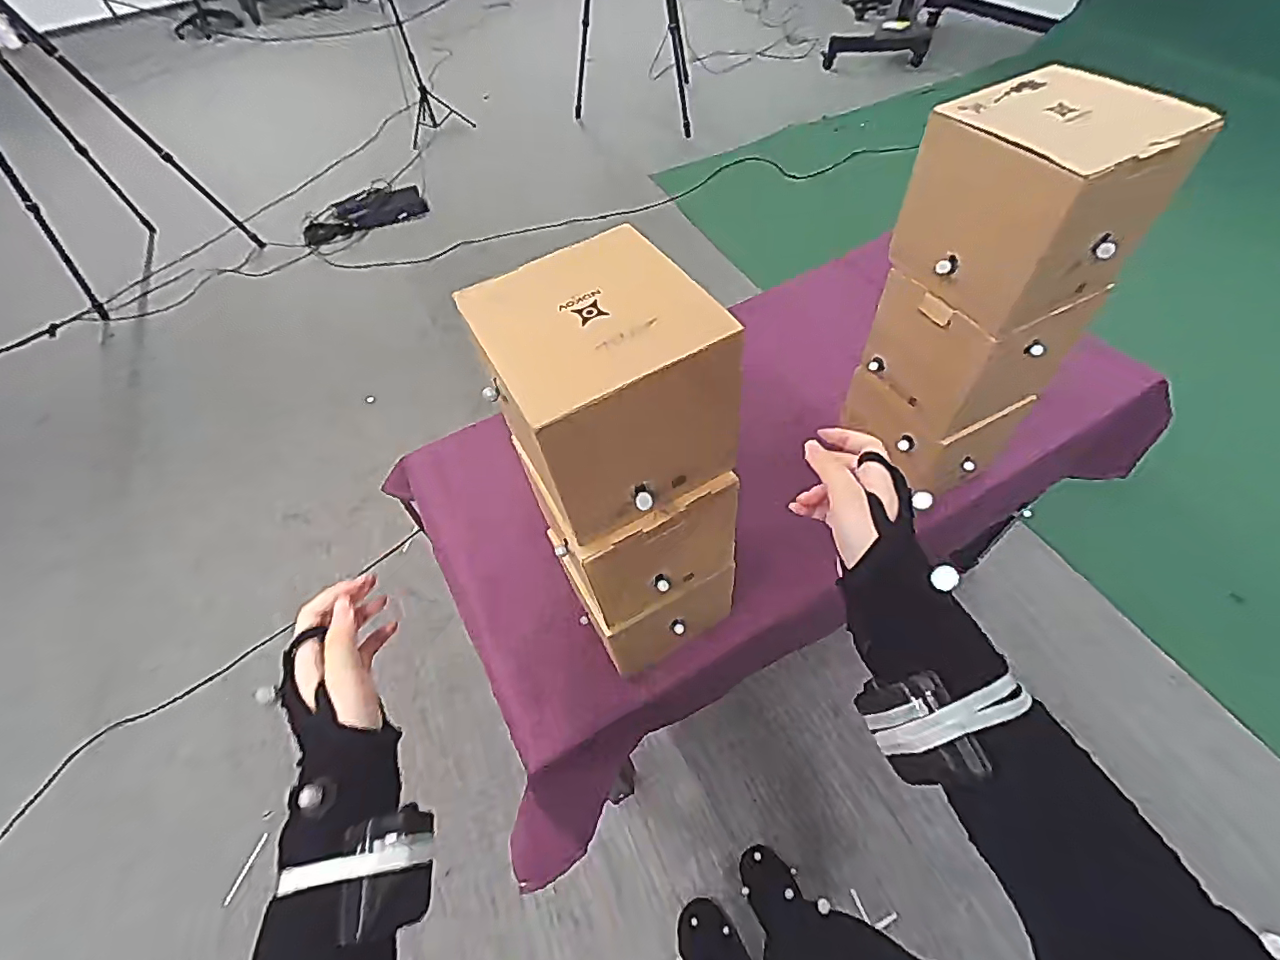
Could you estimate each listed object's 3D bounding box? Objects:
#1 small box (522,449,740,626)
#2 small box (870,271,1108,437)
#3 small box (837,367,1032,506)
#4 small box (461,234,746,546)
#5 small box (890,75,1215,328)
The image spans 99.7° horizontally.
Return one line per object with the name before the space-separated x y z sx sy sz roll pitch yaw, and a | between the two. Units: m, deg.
small box | -0.011 0.028 0.598 0.168 0.176 0.179 -27 57 -13
small box | 0.426 -0.184 0.702 0.179 0.176 0.168 -24 56 -12
small box | 0.435 -0.083 0.832 0.168 0.176 0.179 -24 55 -12
small box | -0.029 -0.075 0.473 0.168 0.176 0.179 -27 57 -12
small box | 0.407 -0.284 0.573 0.168 0.176 0.179 -24 56 -11
